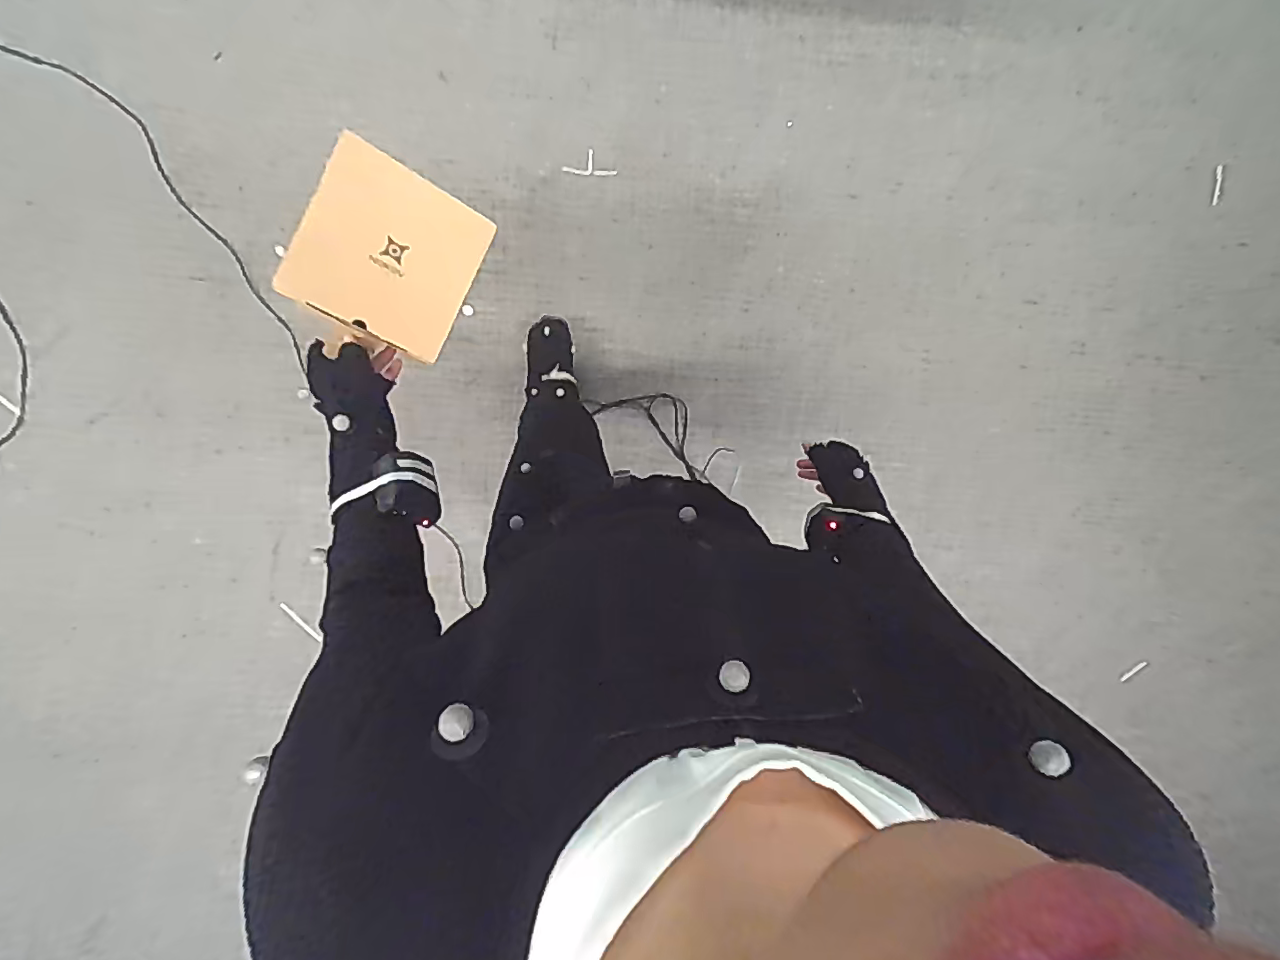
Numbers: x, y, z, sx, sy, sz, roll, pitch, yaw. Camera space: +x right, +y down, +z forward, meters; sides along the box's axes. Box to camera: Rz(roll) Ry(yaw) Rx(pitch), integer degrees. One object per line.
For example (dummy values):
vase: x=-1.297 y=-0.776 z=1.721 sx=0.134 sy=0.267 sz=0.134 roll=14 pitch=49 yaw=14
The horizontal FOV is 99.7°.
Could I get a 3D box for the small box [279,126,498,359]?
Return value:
small box: x=-0.293 y=-0.262 z=0.641 sx=0.168 sy=0.176 sz=0.179 roll=24 pitch=92 yaw=-28
